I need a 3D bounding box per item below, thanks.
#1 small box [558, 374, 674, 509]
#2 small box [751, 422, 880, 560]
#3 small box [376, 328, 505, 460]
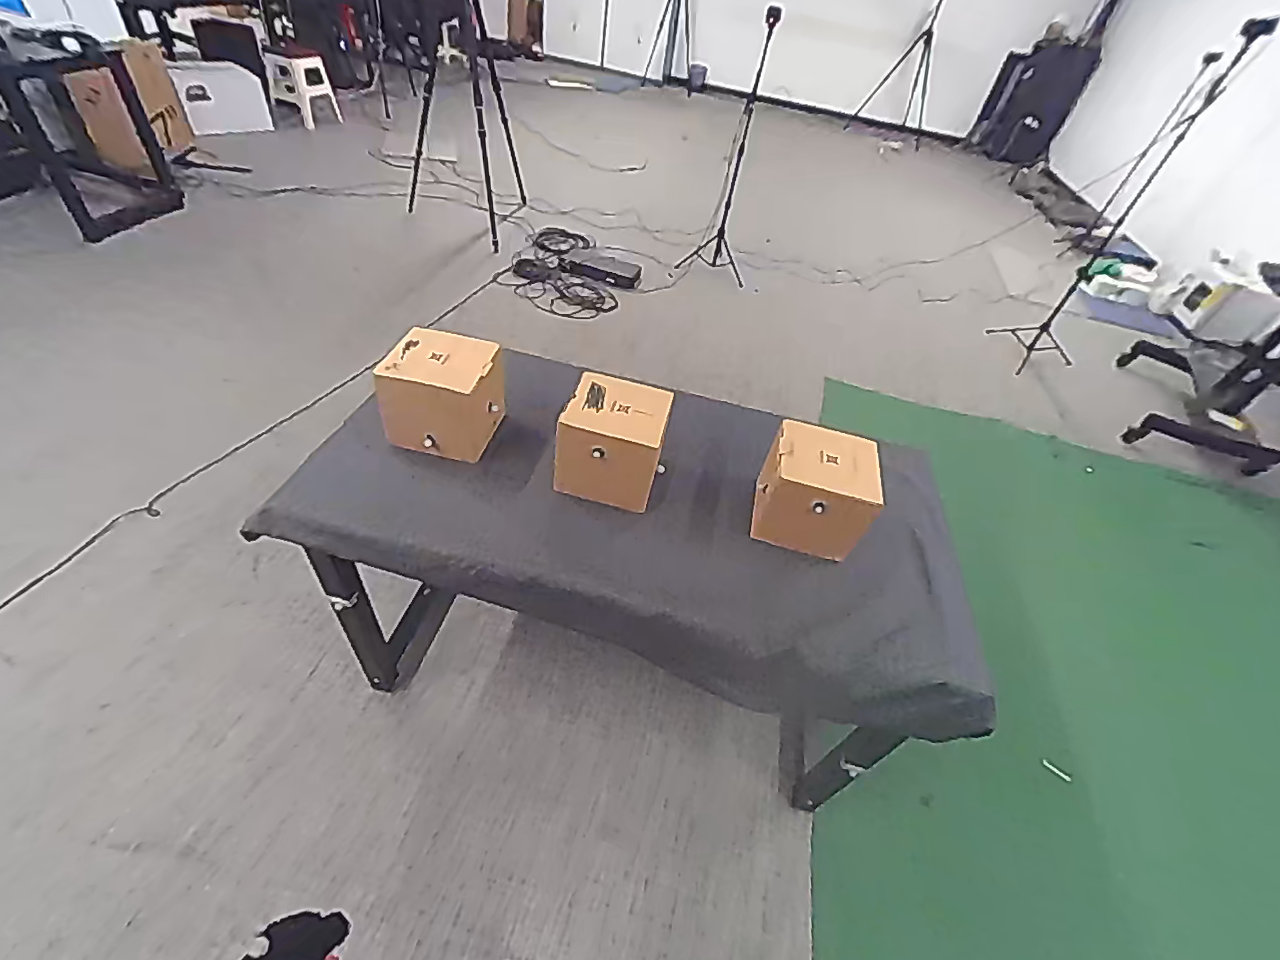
[{"bbox_3d":[-0.048,-0.068,1.011,0.179,0.176,0.168,15,45,2],"label":"small box"},{"bbox_3d":[0.315,0.023,0.998,0.179,0.176,0.168,16,46,3],"label":"small box"},{"bbox_3d":[-0.368,-0.159,1.035,0.179,0.176,0.168,13,44,0],"label":"small box"}]
